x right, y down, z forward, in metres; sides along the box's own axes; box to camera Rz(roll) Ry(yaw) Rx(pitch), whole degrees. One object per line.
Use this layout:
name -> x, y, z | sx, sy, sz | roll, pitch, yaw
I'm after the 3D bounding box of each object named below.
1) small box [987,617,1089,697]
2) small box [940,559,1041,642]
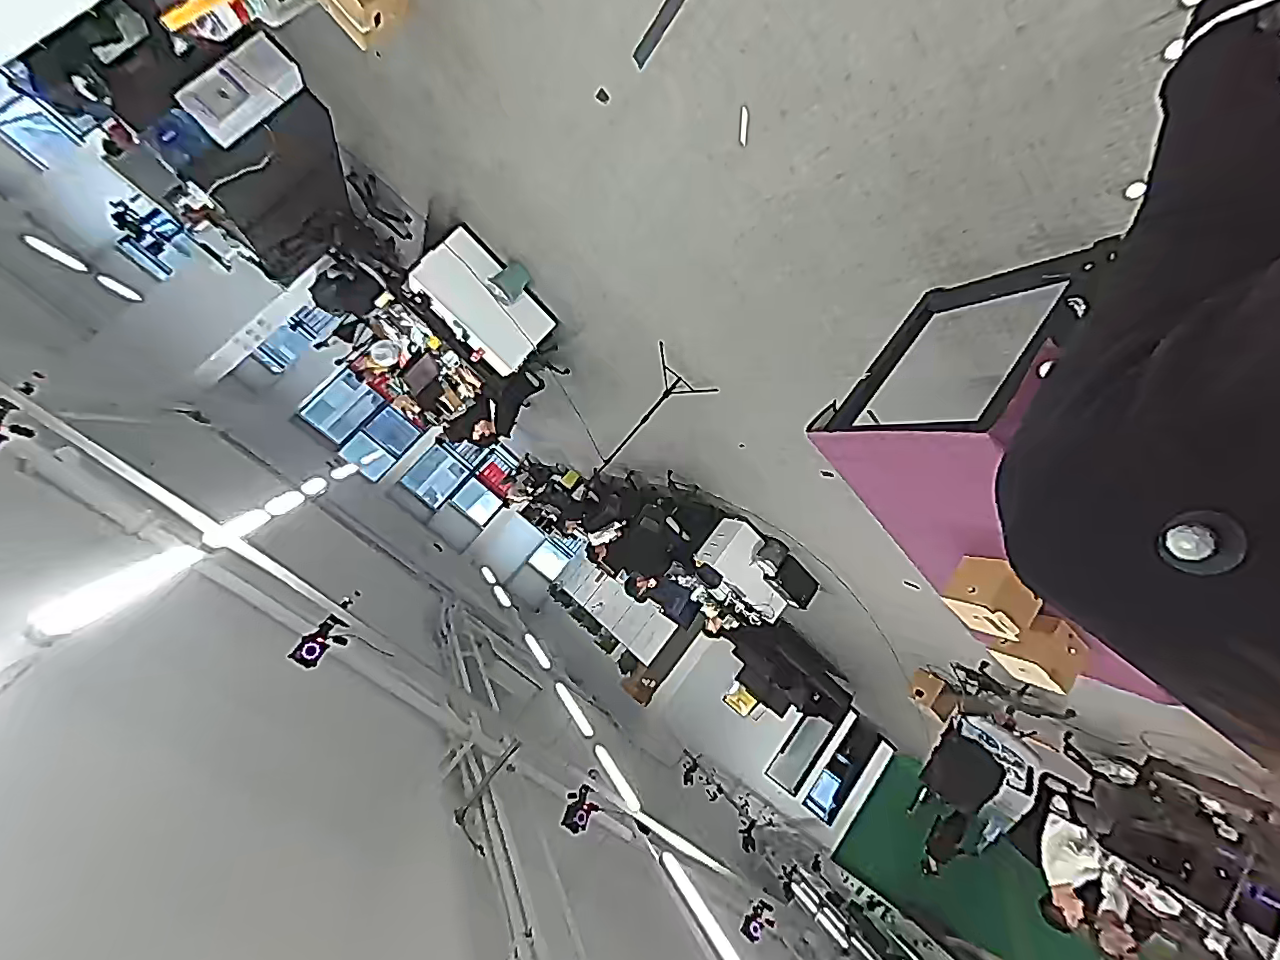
small box -> 1.264, 0.546, 1.718 | 0.168, 0.176, 0.179 | 42, 167, -12
small box -> 1.068, 0.358, 1.639 | 0.168, 0.176, 0.179 | 42, 168, -11
